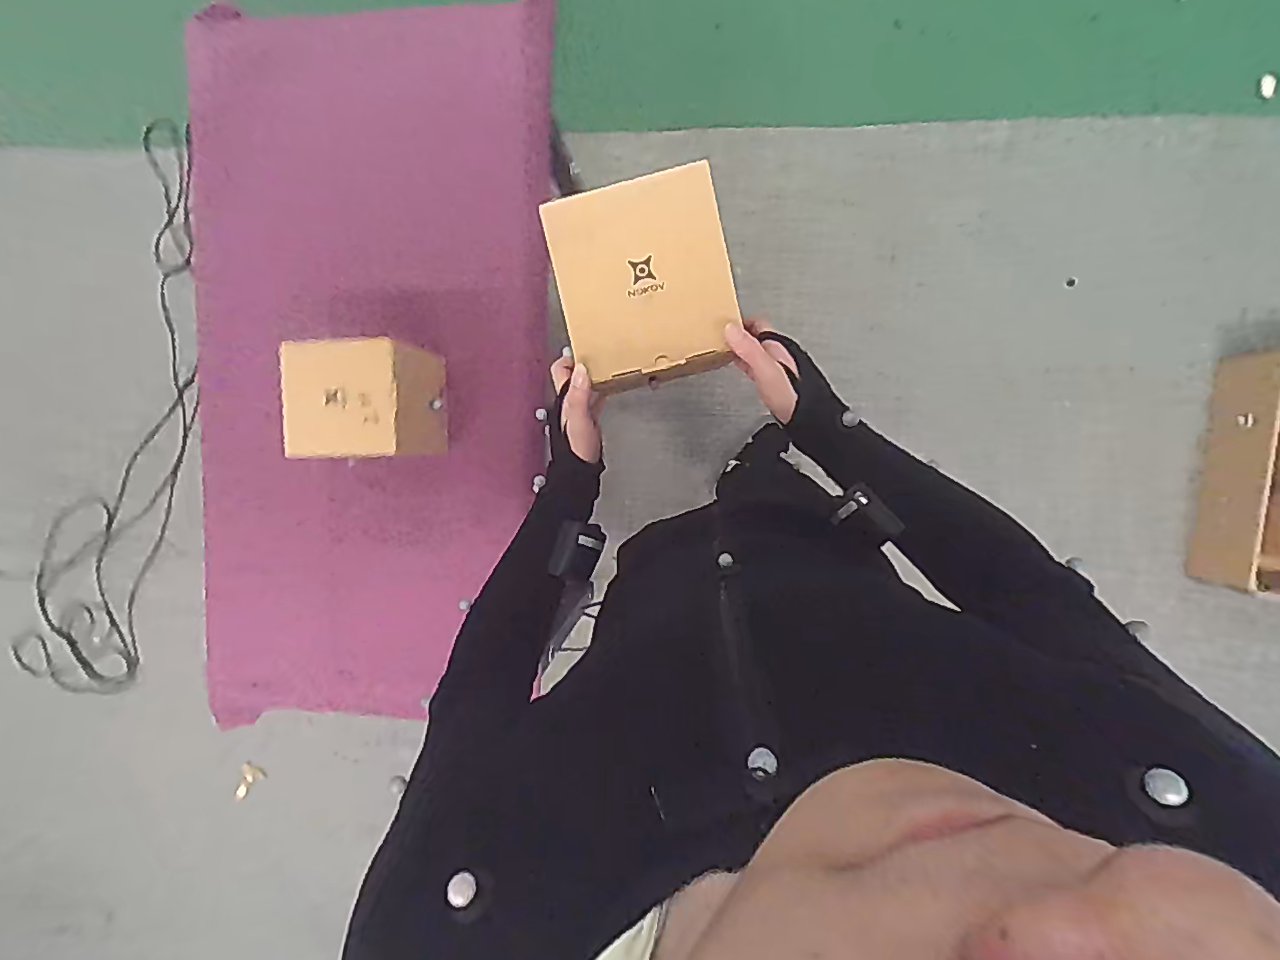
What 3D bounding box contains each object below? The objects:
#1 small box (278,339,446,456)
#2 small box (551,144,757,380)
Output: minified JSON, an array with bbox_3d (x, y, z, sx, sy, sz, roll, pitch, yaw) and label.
[{"bbox_3d":[-0.427,-0.121,0.852,0.179,0.176,0.168,0,93,6],"label":"small box"},{"bbox_3d":[0.016,-0.213,0.579,0.168,0.176,0.179,-12,97,4],"label":"small box"}]
